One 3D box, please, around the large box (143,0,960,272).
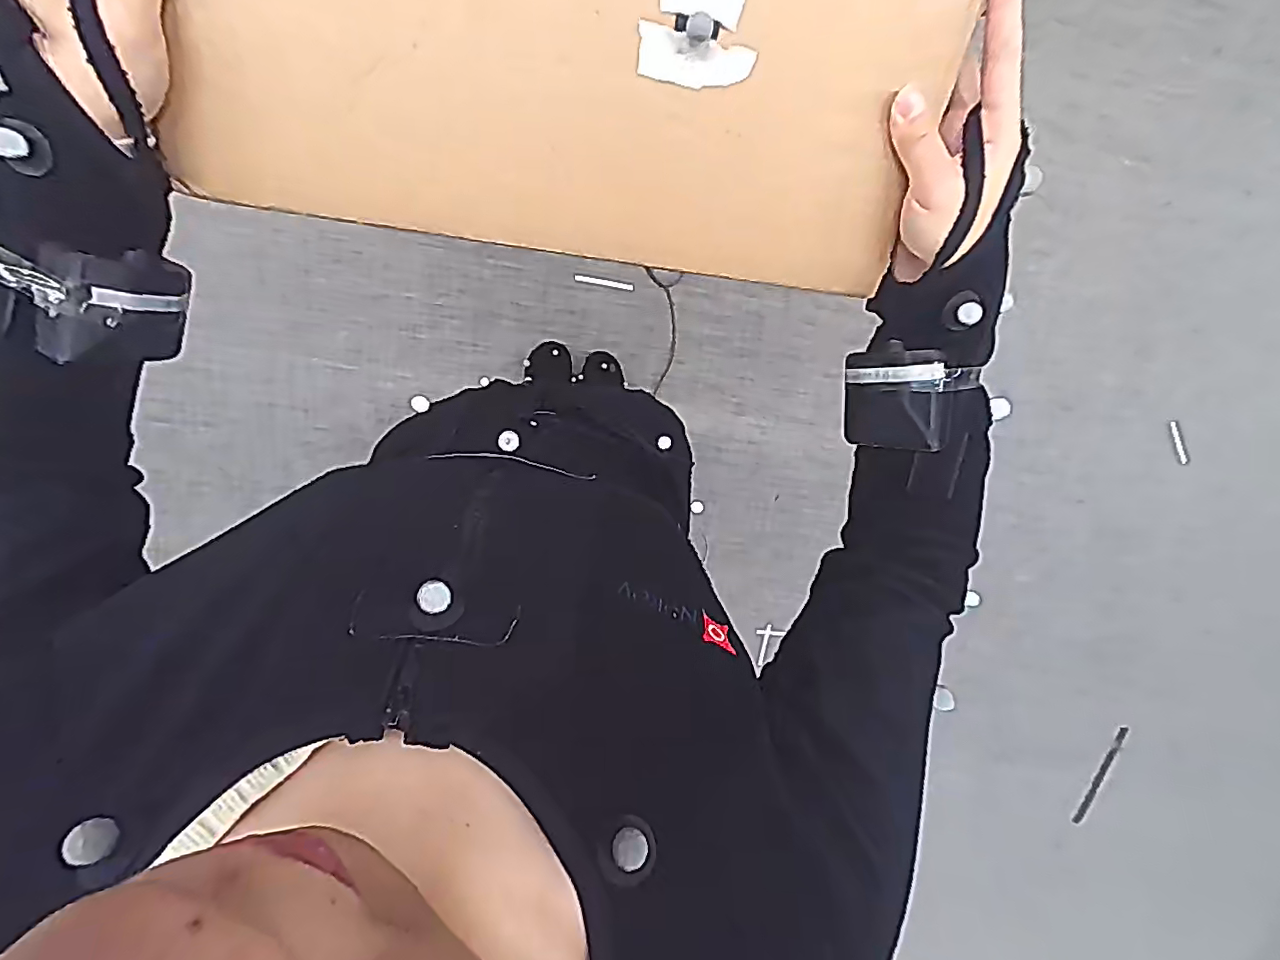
[{"bbox_3d":[-0.040,-0.354,0.369,0.408,0.320,0.320,5,122,-7],"label":"large box"}]
